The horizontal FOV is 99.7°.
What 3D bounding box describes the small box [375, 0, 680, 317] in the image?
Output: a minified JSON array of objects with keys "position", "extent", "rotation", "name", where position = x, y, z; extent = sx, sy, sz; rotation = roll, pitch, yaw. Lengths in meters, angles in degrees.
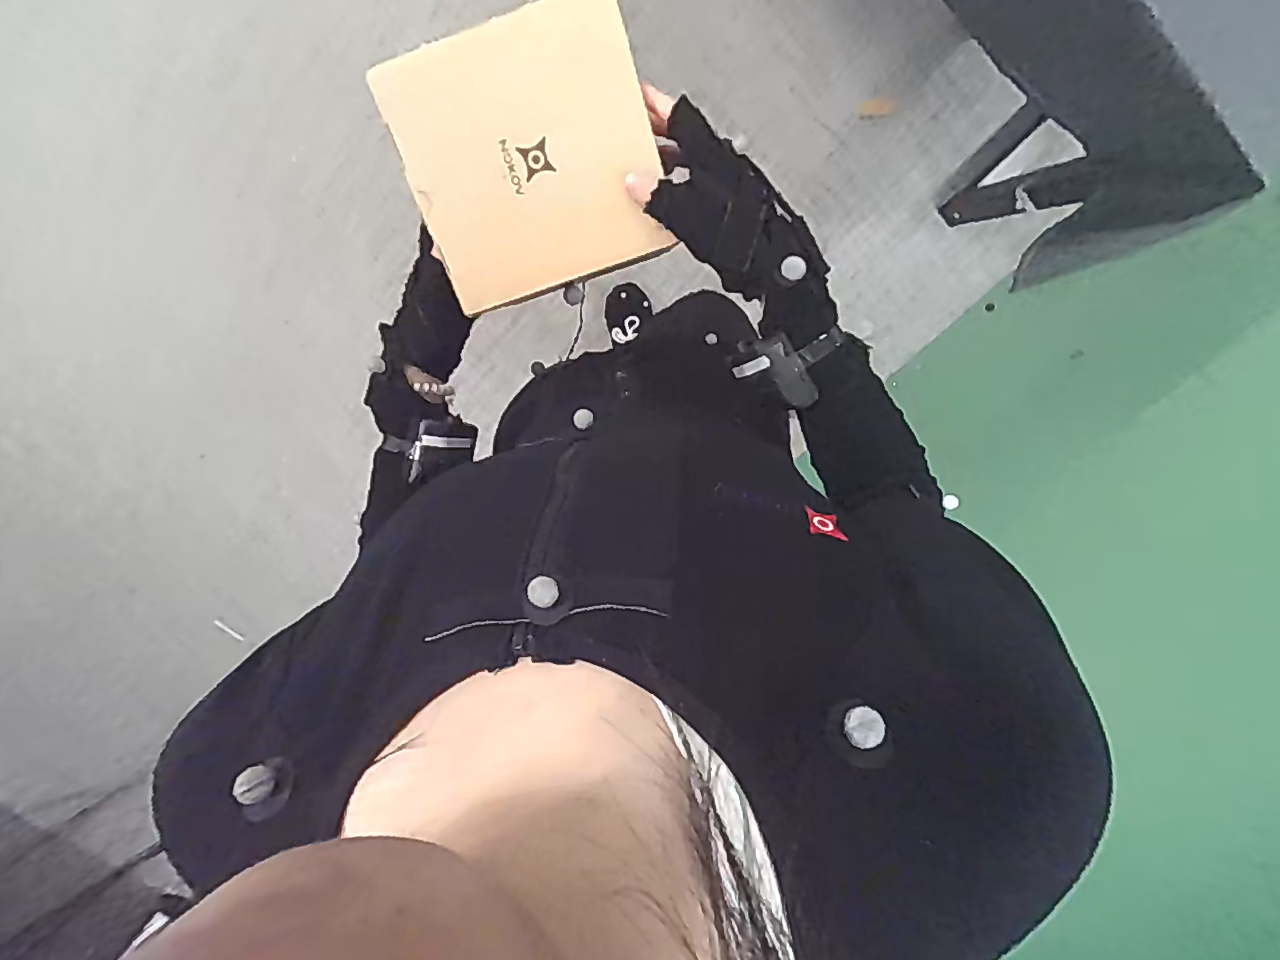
[{"position":[-0.074,-0.251,0.457],"extent":[0.179,0.176,0.168],"rotation":[-16,110,8],"name":"small box"}]
